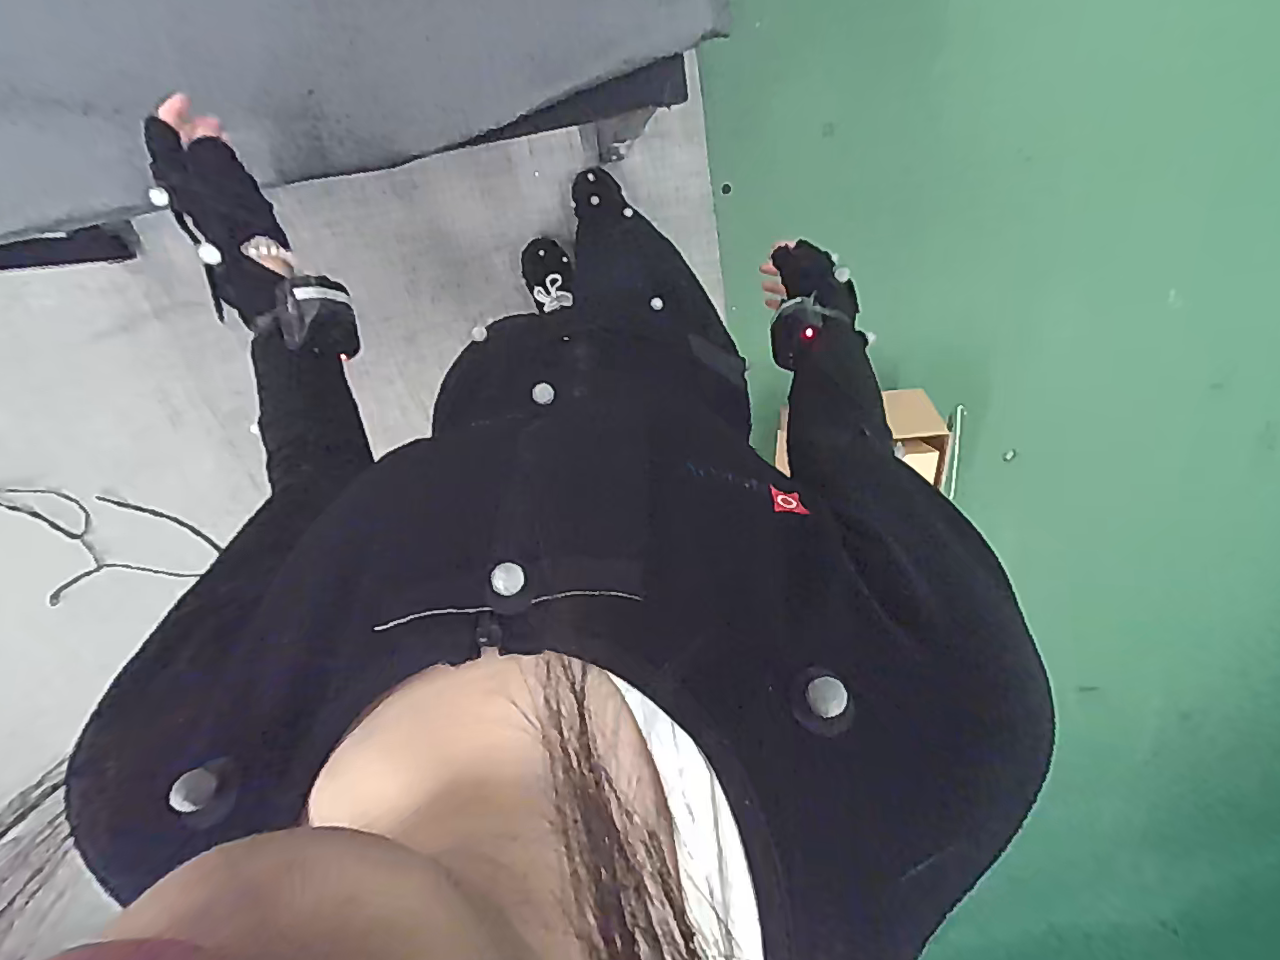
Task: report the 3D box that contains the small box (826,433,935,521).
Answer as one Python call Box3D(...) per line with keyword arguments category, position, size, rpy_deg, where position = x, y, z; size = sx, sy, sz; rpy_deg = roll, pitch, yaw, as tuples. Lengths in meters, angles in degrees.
Box3D(category="small box", position=(0.591, -0.014, 1.349), size=(0.179, 0.176, 0.168), rpy_deg=(-4, 114, -5))
